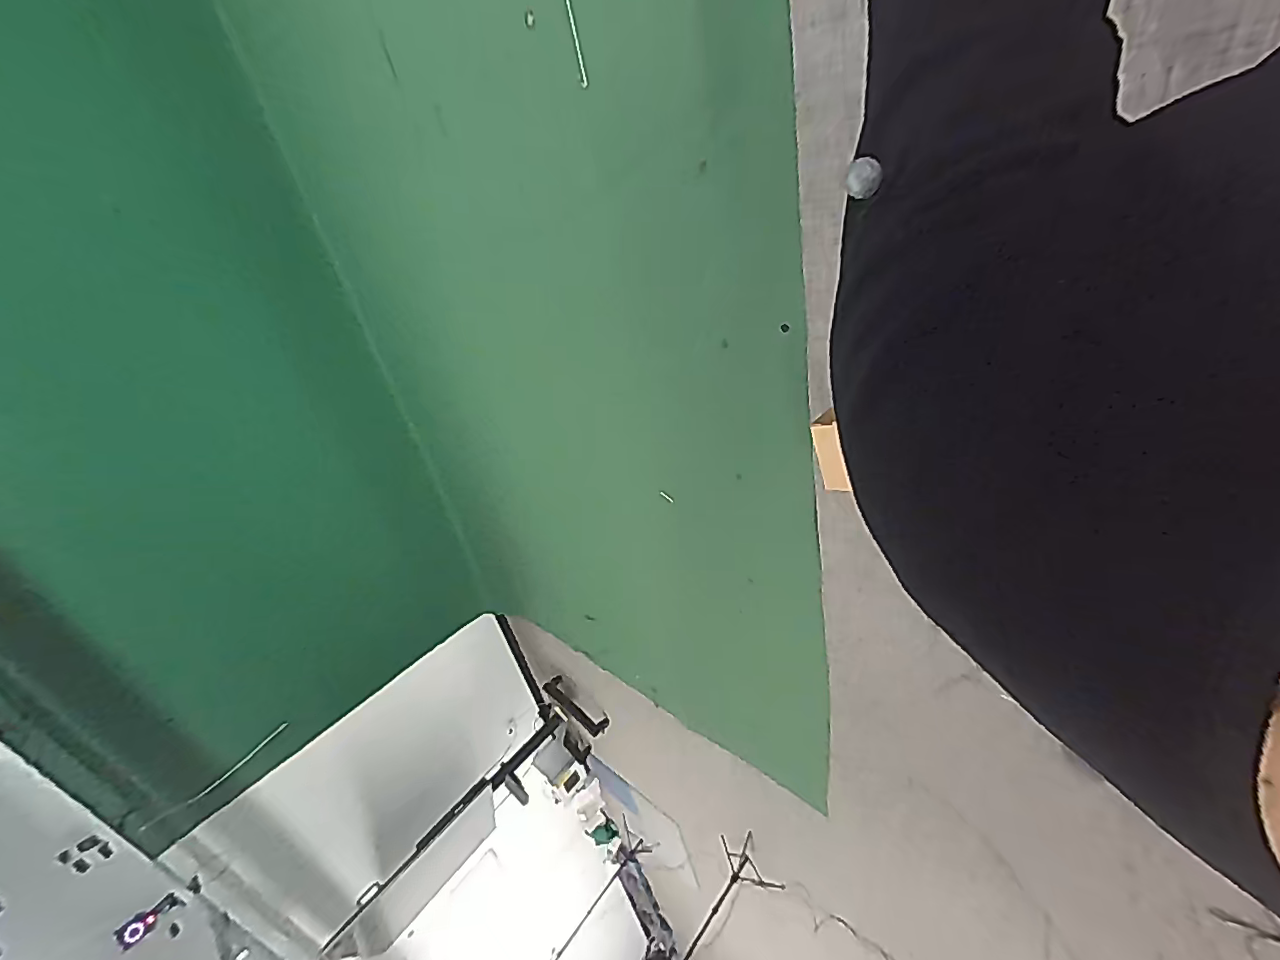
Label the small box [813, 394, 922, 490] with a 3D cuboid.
[{"bbox_3d":[0.536,-0.094,1.267,0.168,0.176,0.179,3,122,50],"label":"small box"}]
